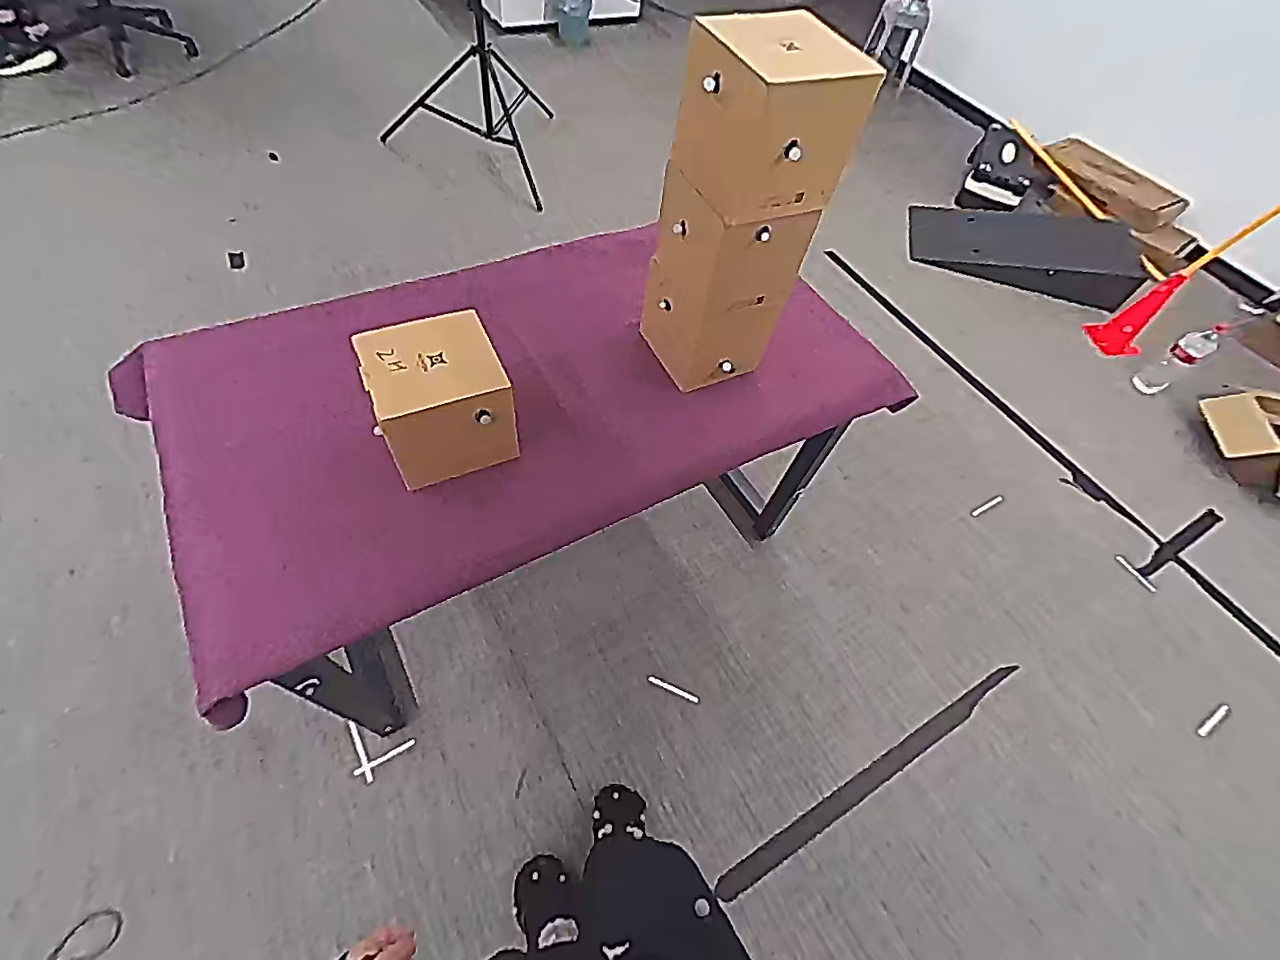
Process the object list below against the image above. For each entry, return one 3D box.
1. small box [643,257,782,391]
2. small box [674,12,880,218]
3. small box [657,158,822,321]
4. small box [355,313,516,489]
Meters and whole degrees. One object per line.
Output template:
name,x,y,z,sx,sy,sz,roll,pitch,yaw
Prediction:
small box,0.118,-0.292,0.974,0.168,0.176,0.179,-21,63,-19
small box,0.160,-0.460,0.696,0.168,0.176,0.179,-19,61,-18
small box,0.139,-0.377,0.835,0.168,0.176,0.179,-19,61,-18
small box,-0.291,-0.115,0.804,0.179,0.176,0.168,-20,62,-19
